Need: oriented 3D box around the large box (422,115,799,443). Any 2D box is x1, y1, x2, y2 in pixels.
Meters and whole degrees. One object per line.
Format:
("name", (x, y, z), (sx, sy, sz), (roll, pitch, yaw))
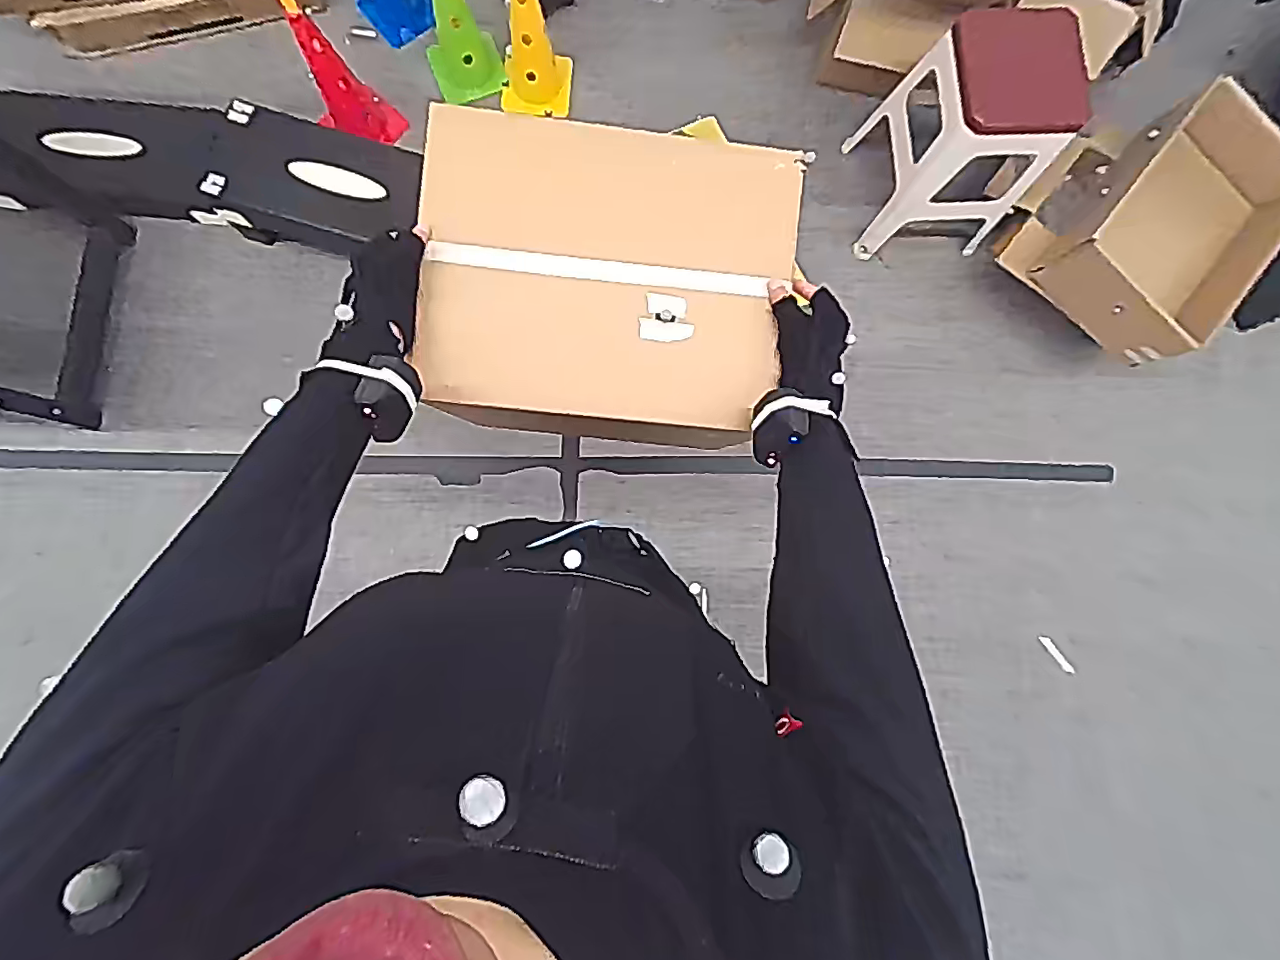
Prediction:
("large box", (-0.040, -0.228, 0.744), (0.408, 0.320, 0.320), (5, 90, -4))
